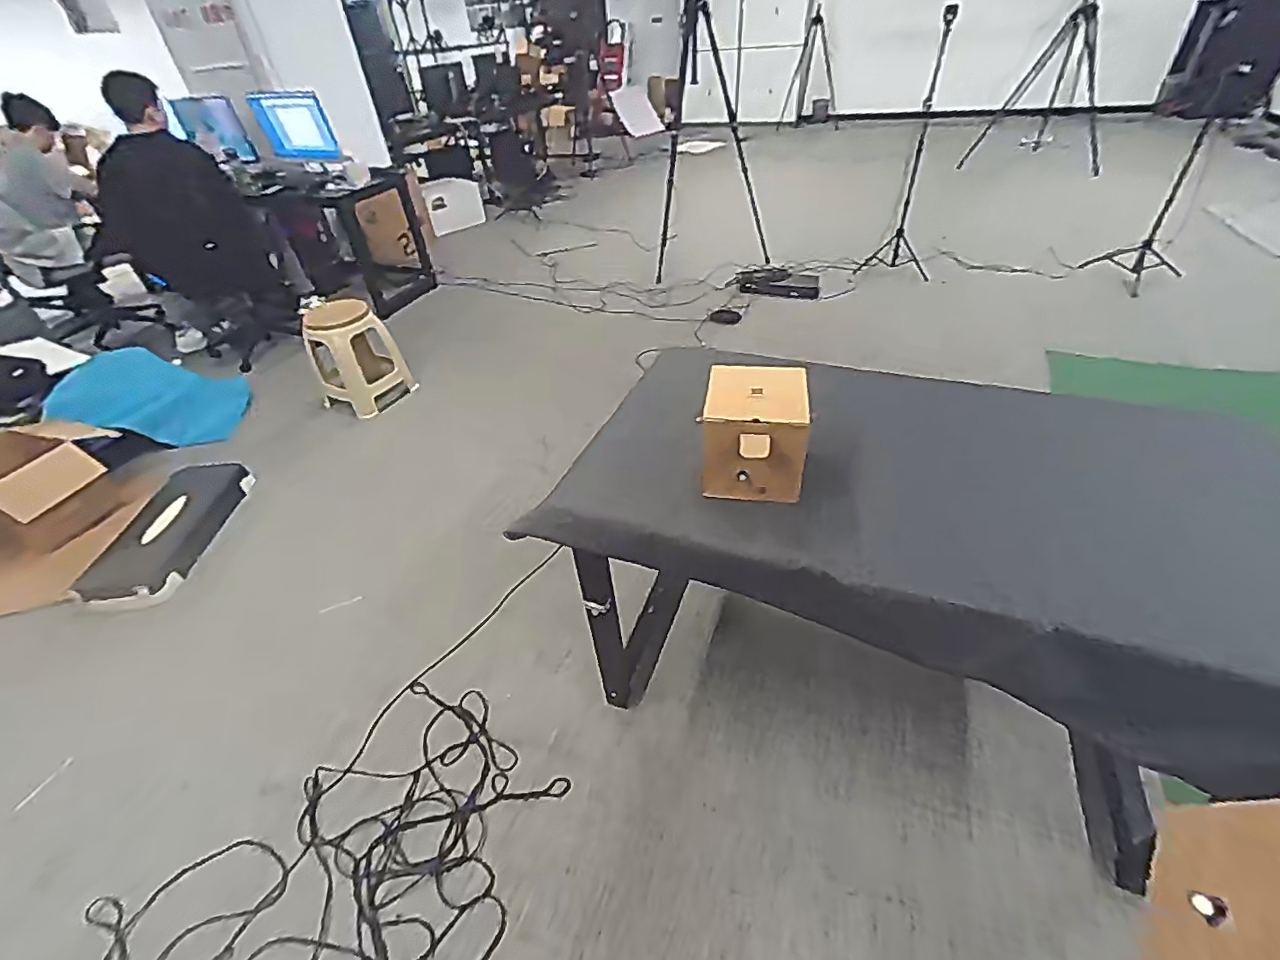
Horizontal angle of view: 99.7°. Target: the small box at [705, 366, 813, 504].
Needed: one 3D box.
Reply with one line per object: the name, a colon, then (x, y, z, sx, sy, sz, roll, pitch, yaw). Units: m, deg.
small box: (0.205, -0.082, 0.953, 0.168, 0.176, 0.179, 4, 41, 10)
